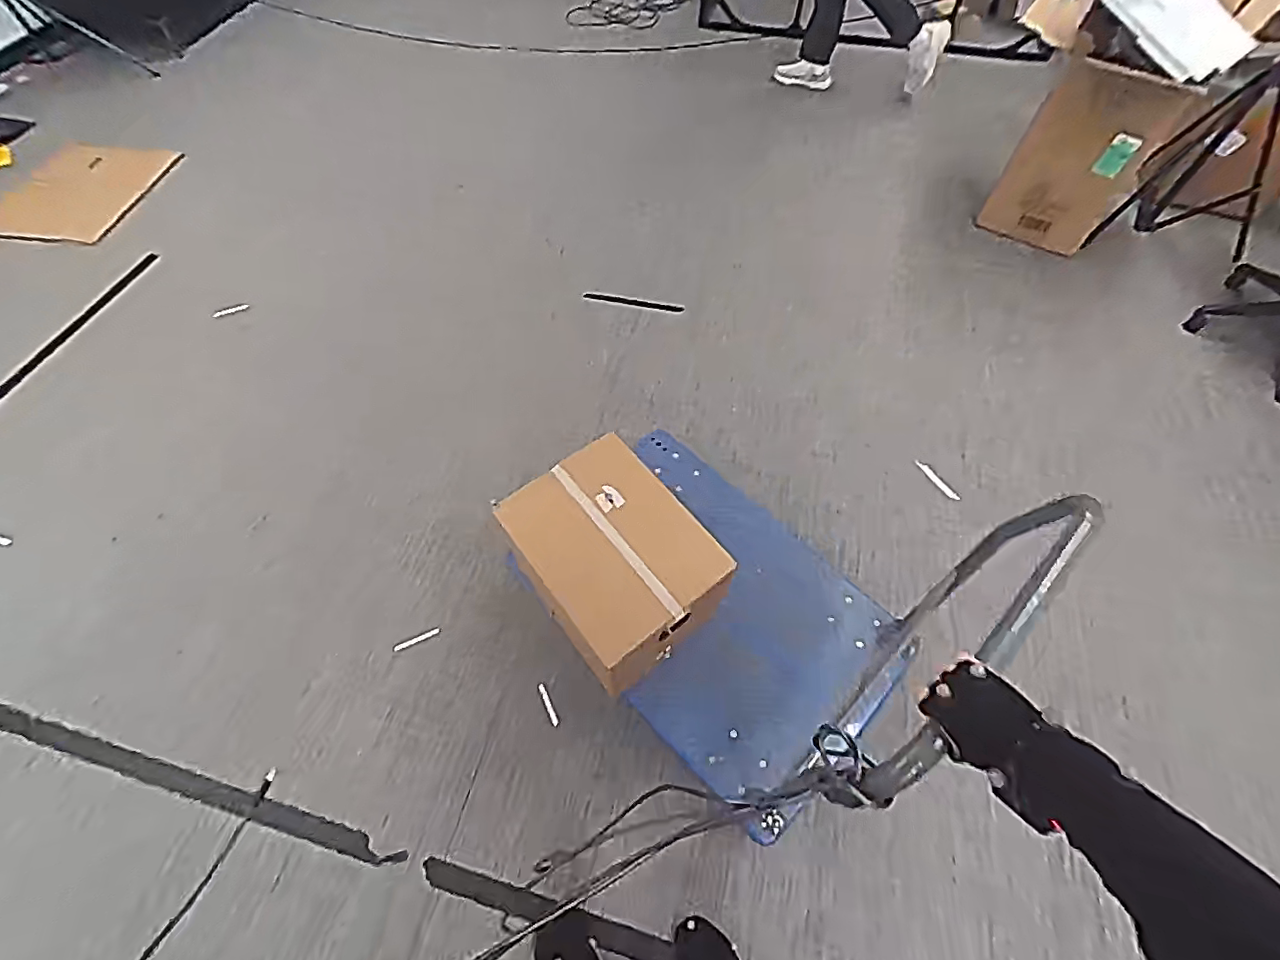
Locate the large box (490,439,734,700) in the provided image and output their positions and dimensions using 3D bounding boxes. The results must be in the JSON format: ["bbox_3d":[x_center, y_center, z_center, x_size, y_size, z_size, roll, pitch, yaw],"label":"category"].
[{"bbox_3d":[-0.058,0.197,1.179,0.320,0.320,0.408,-34,64,-19],"label":"large box"}]
